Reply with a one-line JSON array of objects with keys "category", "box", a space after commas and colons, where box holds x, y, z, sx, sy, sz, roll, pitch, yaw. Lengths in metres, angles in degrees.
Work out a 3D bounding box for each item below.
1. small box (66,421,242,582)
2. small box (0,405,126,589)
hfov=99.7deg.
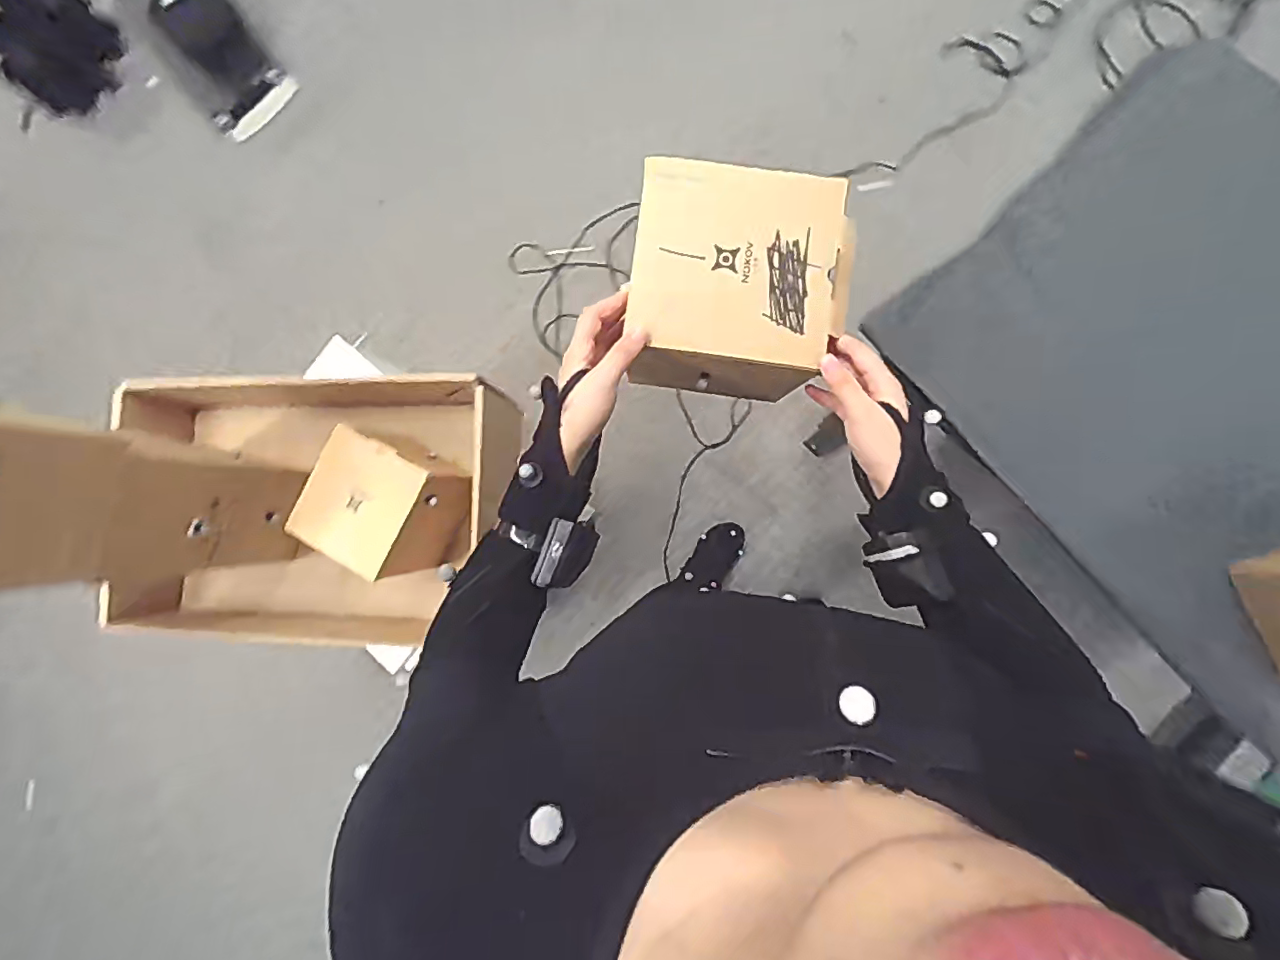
[{"category": "small box", "box": [-0.697, 0.024, 0.727, 0.179, 0.176, 0.168, 16, 90, 6]}, {"category": "small box", "box": [-0.700, 0.010, 0.562, 0.168, 0.176, 0.179, 13, 89, 8]}]
